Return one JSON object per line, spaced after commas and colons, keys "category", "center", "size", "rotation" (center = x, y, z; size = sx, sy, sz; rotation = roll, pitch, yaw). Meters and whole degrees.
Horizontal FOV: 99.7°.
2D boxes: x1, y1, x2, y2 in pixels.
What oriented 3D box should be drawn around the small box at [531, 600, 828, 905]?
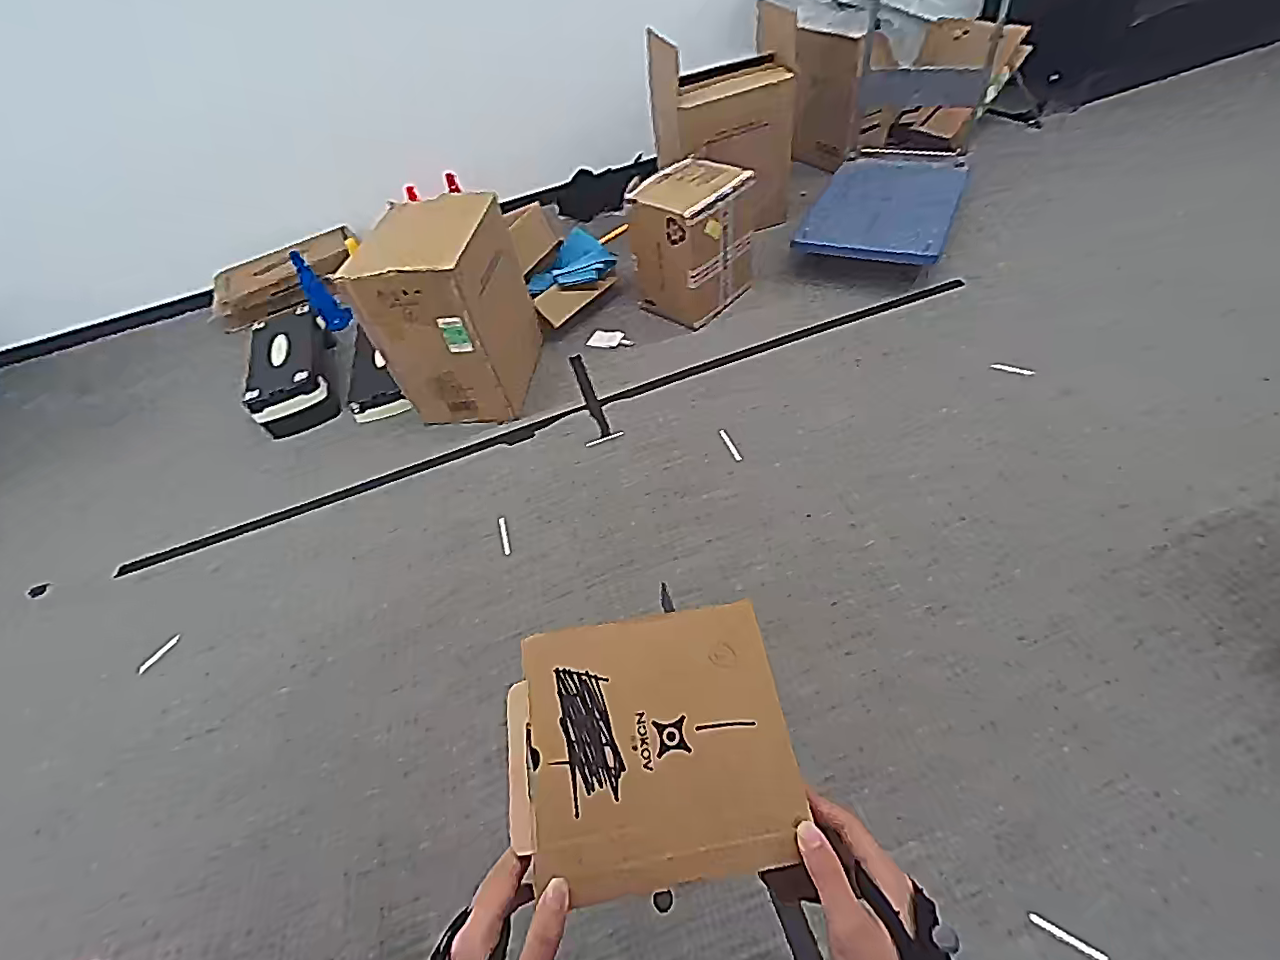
{"category": "small box", "center": [0.018, 0.211, 0.426], "size": [0.179, 0.176, 0.168], "rotation": [-7, 58, -5]}
